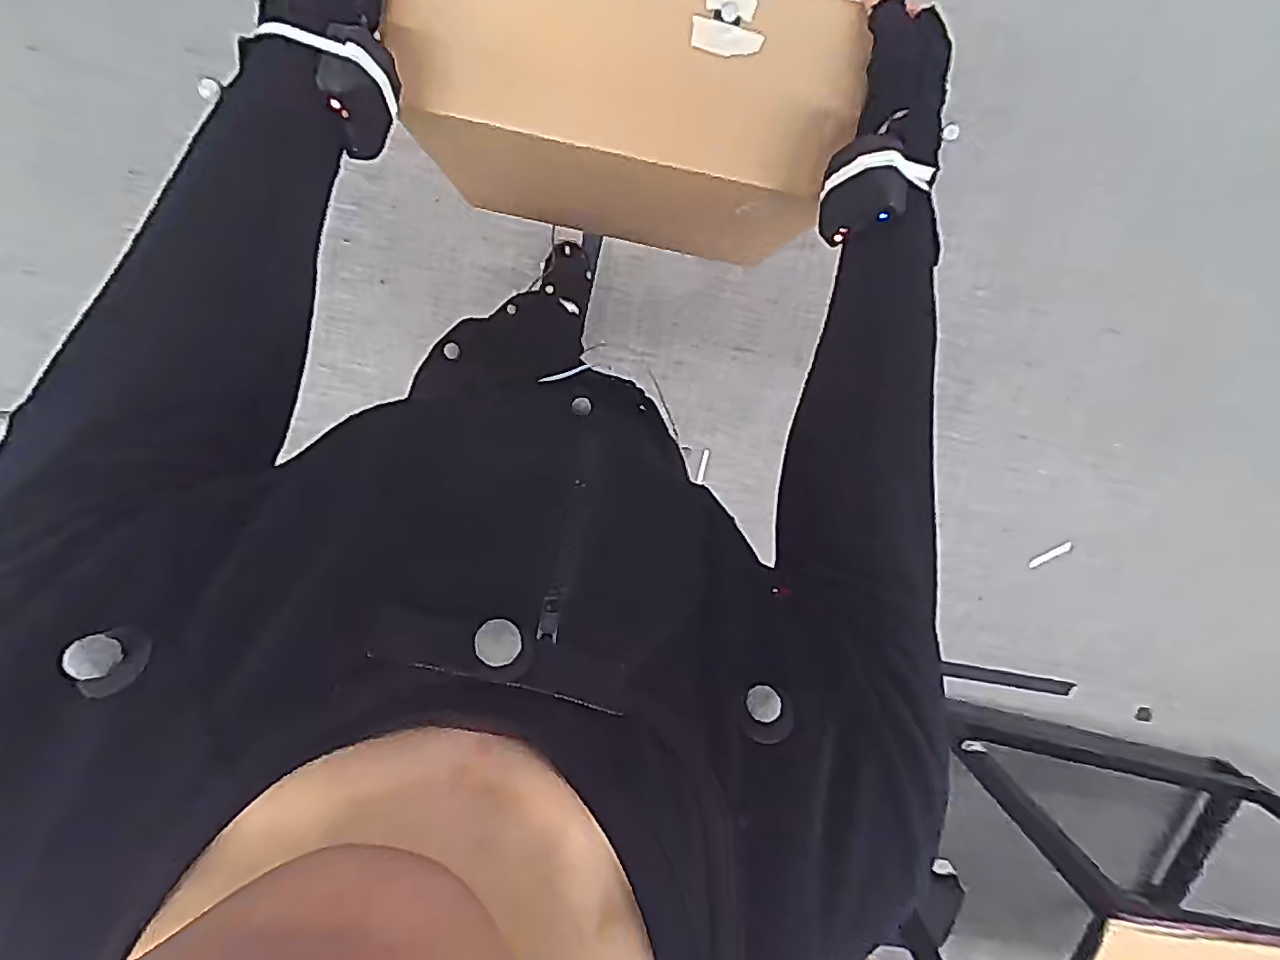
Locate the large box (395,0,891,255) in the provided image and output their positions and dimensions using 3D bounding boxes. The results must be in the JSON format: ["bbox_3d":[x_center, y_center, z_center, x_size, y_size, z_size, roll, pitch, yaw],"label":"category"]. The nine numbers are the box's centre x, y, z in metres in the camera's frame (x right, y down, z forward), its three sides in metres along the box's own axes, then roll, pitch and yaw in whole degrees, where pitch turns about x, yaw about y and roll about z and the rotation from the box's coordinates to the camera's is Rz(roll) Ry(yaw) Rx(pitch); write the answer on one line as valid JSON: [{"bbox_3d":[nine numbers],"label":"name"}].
[{"bbox_3d":[0.005,-0.466,0.579,0.408,0.320,0.320,10,102,-7],"label":"large box"}]
